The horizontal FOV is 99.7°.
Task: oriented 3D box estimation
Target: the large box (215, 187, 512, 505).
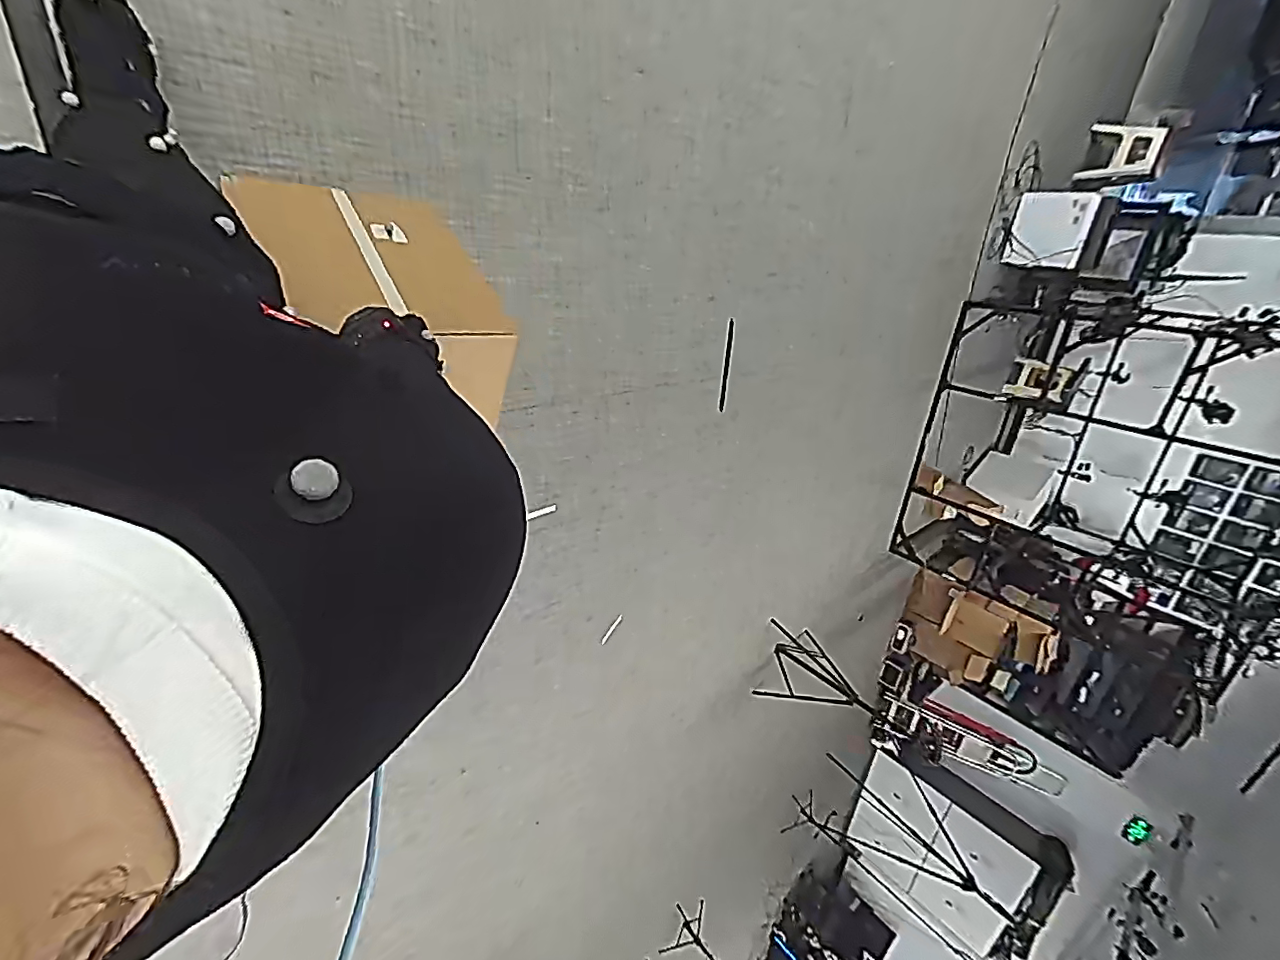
[{"bbox_3d":[-0.459,-0.225,0.900,0.320,0.408,0.320,-12,142,-38],"label":"large box"}]
